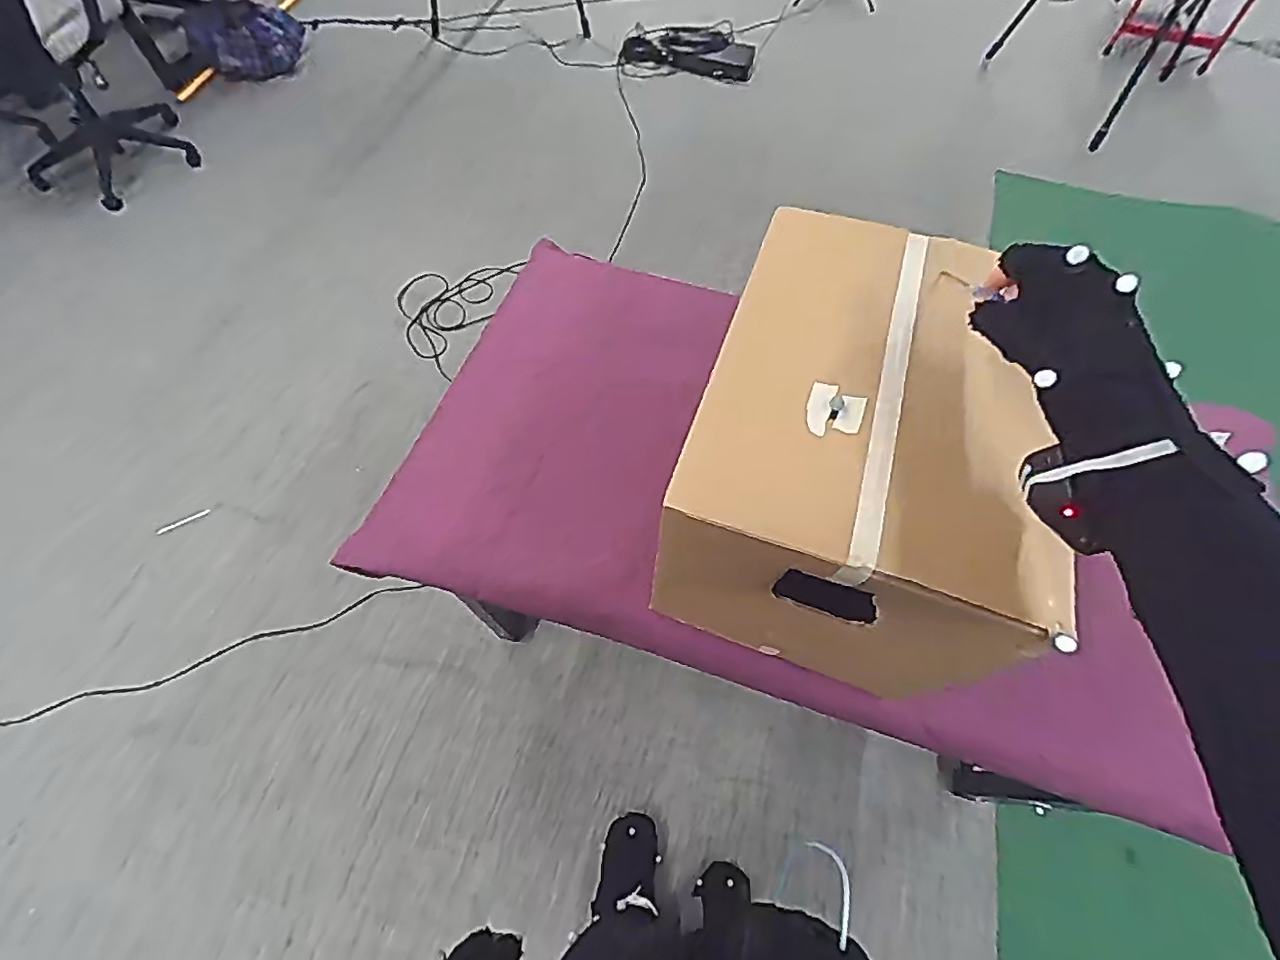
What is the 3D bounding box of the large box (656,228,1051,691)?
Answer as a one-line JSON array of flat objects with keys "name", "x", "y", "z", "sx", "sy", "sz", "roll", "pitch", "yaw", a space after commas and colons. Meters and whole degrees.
[{"name": "large box", "x": 0.229, "y": -0.014, "z": 0.649, "sx": 0.320, "sy": 0.320, "sz": 0.408, "roll": 18, "pitch": 63, "yaw": 9}]
